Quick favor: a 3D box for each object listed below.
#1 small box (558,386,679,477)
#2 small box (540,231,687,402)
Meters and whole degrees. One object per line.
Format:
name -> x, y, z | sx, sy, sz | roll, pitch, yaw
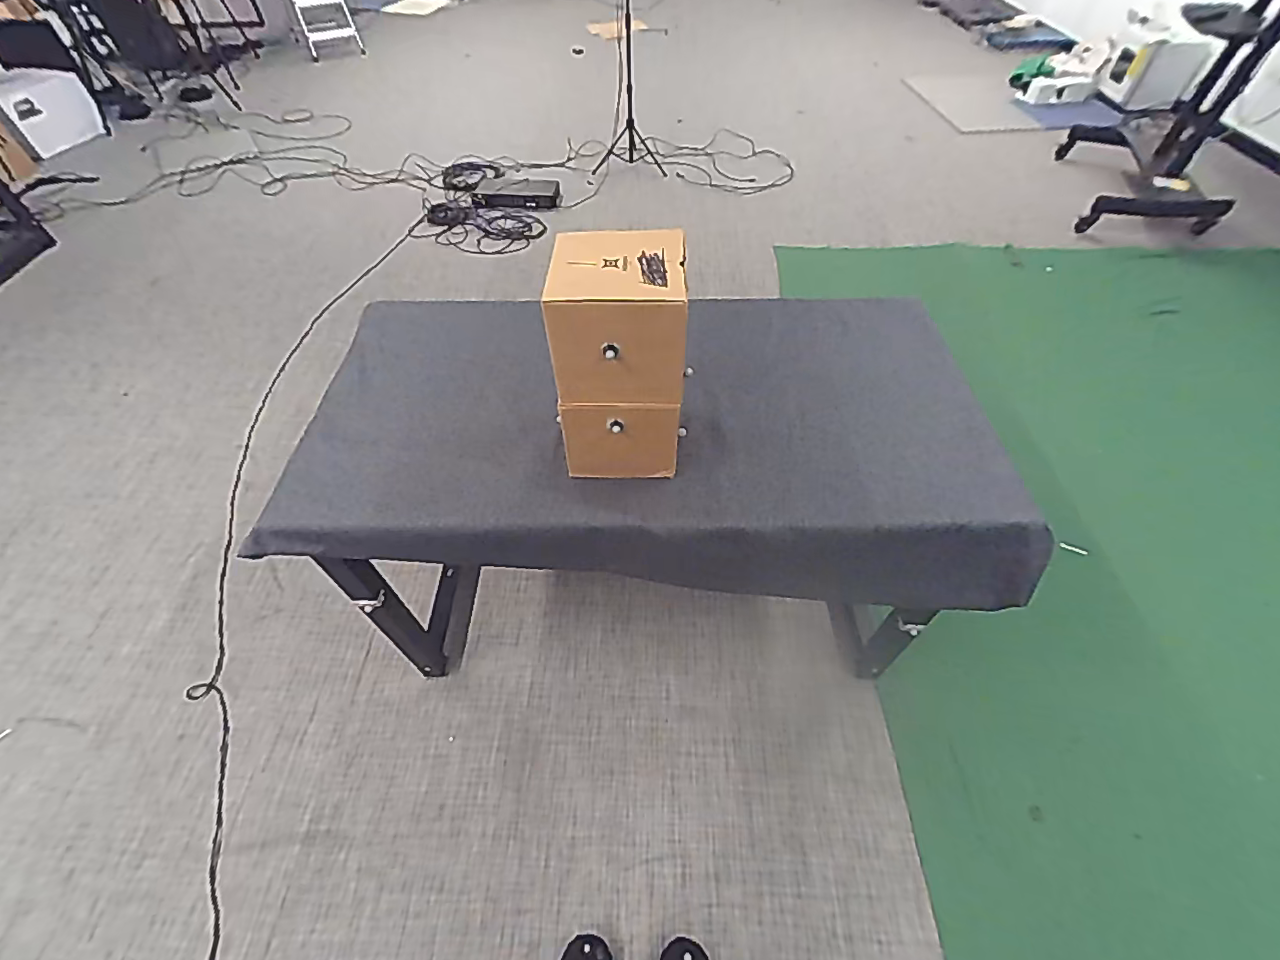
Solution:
small box -> -0.030, -0.118, 0.878 | 0.179, 0.176, 0.168 | 1, 53, 0
small box -> -0.028, -0.221, 0.750 | 0.179, 0.176, 0.168 | 0, 52, 3
